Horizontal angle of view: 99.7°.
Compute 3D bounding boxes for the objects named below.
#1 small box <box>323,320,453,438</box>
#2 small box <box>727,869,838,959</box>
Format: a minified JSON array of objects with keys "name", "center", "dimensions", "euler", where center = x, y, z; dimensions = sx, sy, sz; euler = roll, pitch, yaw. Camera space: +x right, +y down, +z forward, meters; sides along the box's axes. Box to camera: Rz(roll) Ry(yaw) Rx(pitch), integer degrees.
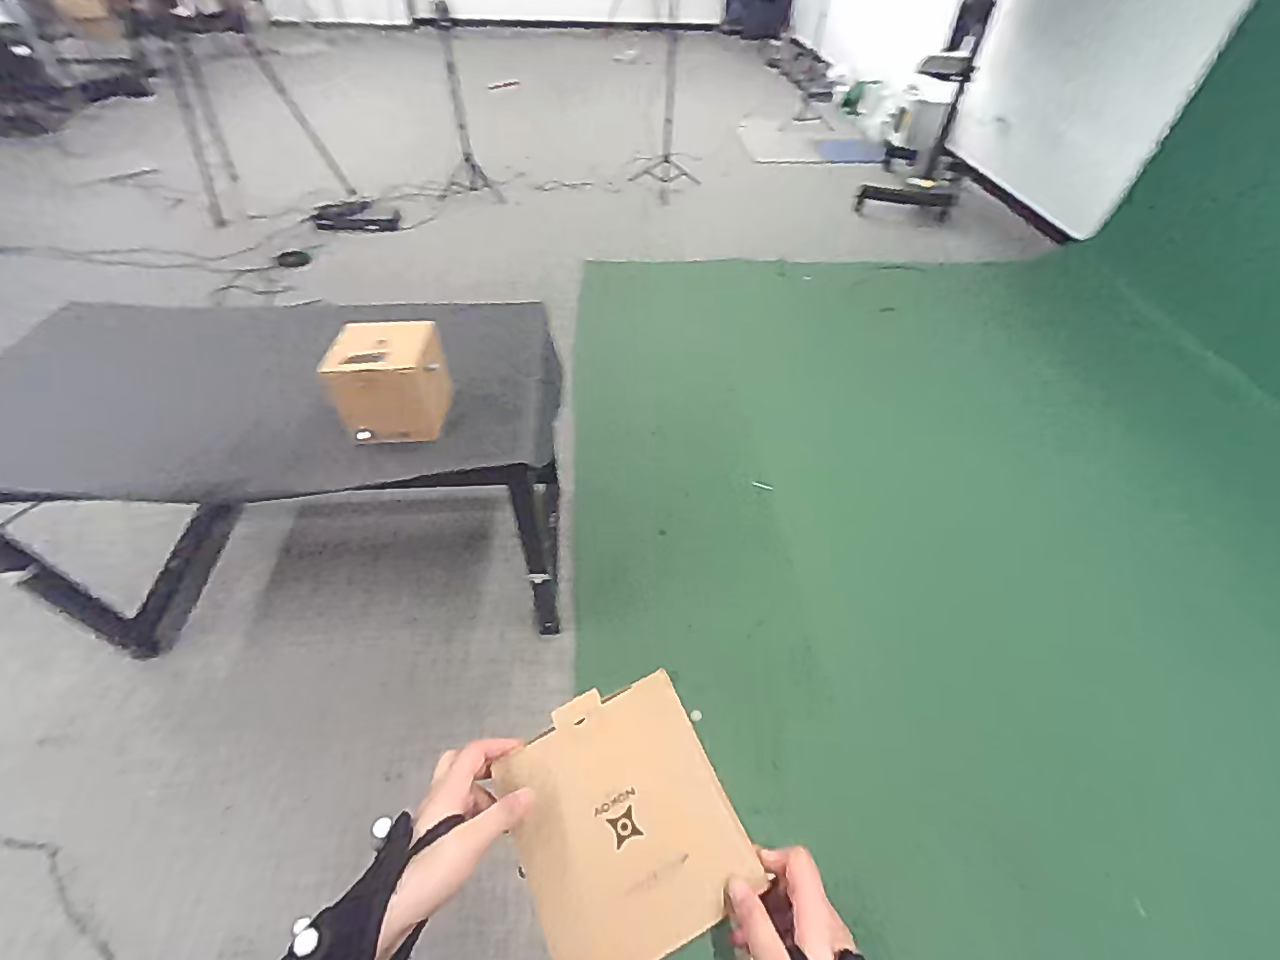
[{"name":"small box","center":[-0.478,-0.193,1.057],"dimensions":[0.168,0.176,0.179],"euler":[-3,45,-3]},{"name":"small box","center":[0.278,0.904,1.083],"dimensions":[0.168,0.176,0.179],"euler":[-3,48,-4]}]
